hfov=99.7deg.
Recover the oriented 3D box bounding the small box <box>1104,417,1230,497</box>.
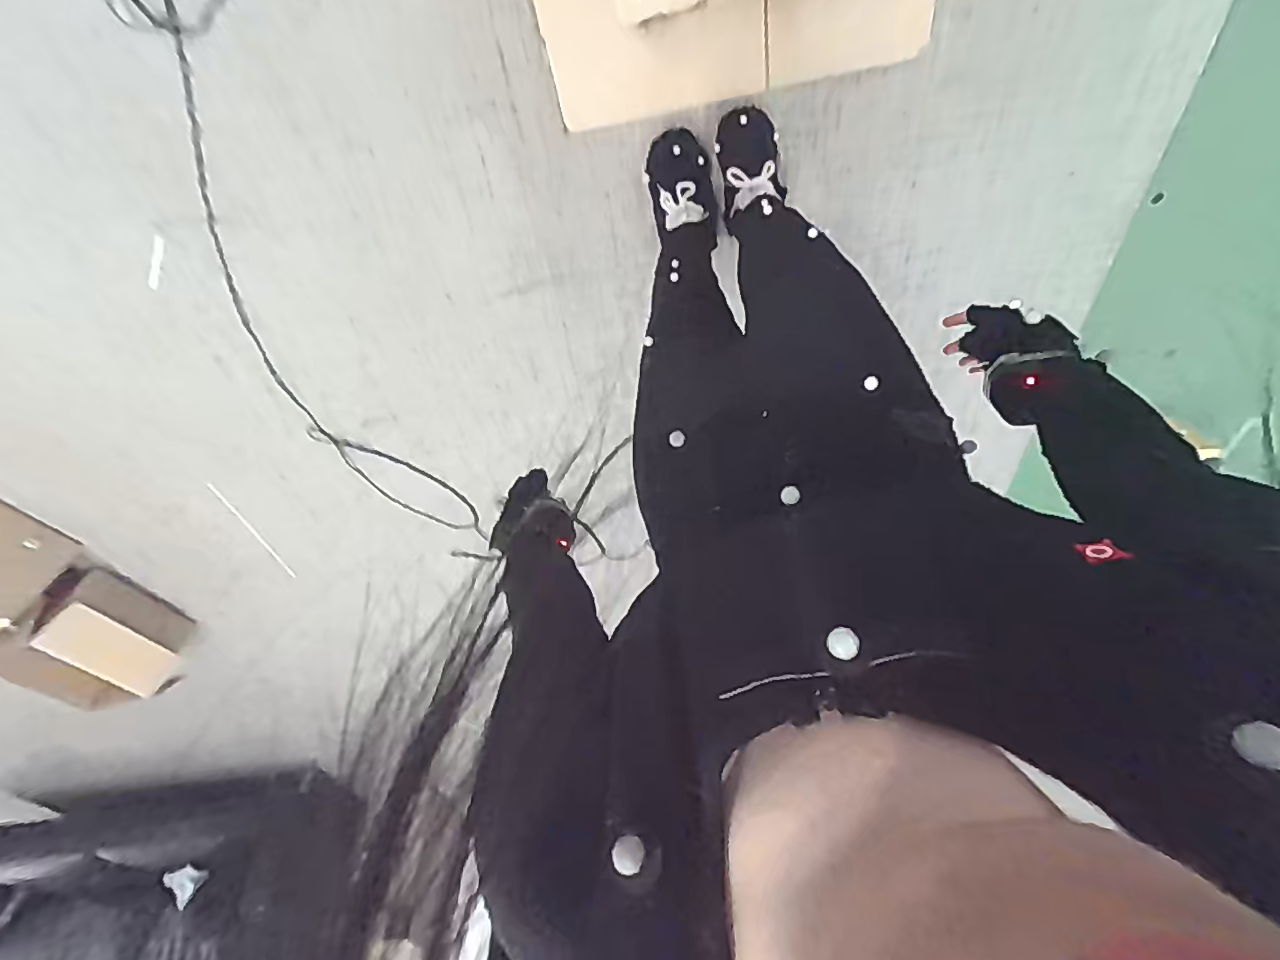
[{"bbox_3d":[1.530,-0.072,1.587,0.168,0.176,0.179,-2,132,-1],"label":"small box"}]

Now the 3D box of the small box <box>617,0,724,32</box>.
[{"bbox_3d":[0.033,-0.834,0.840,0.168,0.176,0.179,-12,131,9],"label":"small box"}]
